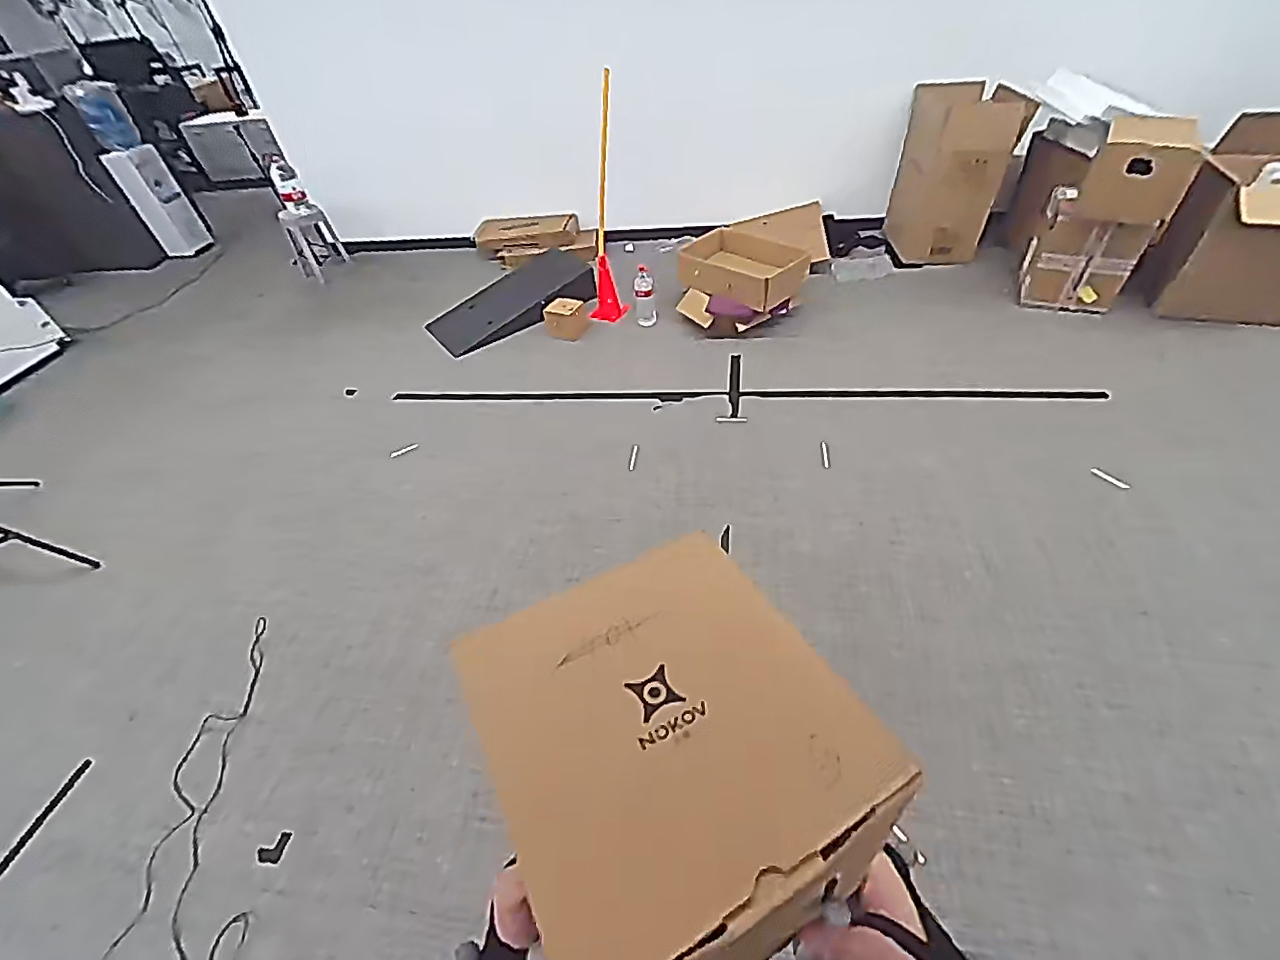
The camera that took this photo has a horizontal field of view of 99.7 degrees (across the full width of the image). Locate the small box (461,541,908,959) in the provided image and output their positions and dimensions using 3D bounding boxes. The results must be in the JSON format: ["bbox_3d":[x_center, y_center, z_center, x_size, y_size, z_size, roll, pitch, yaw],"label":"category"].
[{"bbox_3d":[0.015,0.175,0.323,0.168,0.176,0.179,-22,42,-20],"label":"small box"}]
